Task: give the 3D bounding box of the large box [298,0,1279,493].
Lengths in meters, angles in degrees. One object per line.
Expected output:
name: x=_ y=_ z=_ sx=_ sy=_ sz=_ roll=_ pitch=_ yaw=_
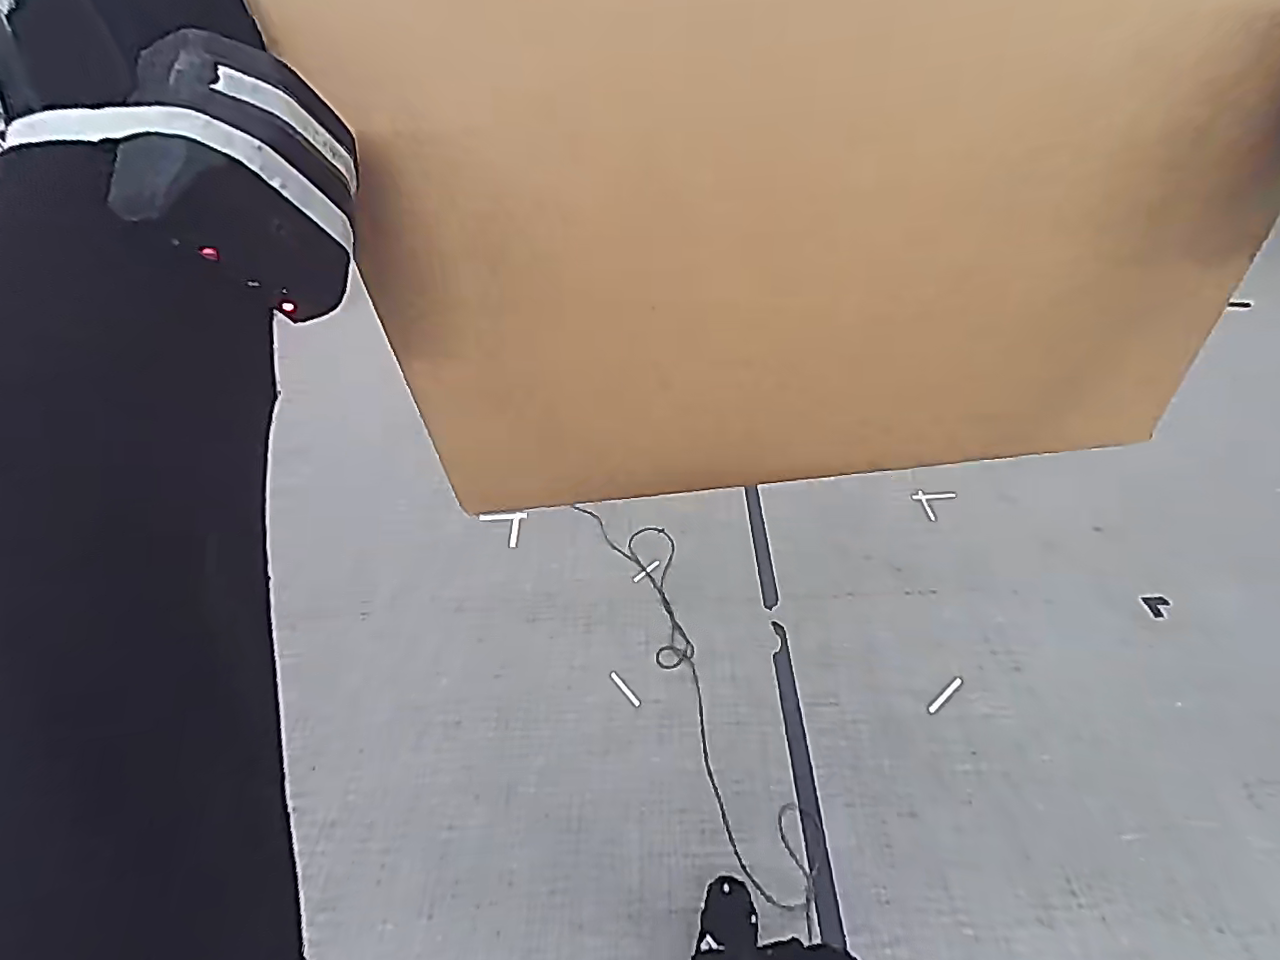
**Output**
large box: x=0.069 y=-0.219 z=0.358 sx=0.408 sy=0.320 sz=0.320 roll=-6 pitch=39 yaw=1
